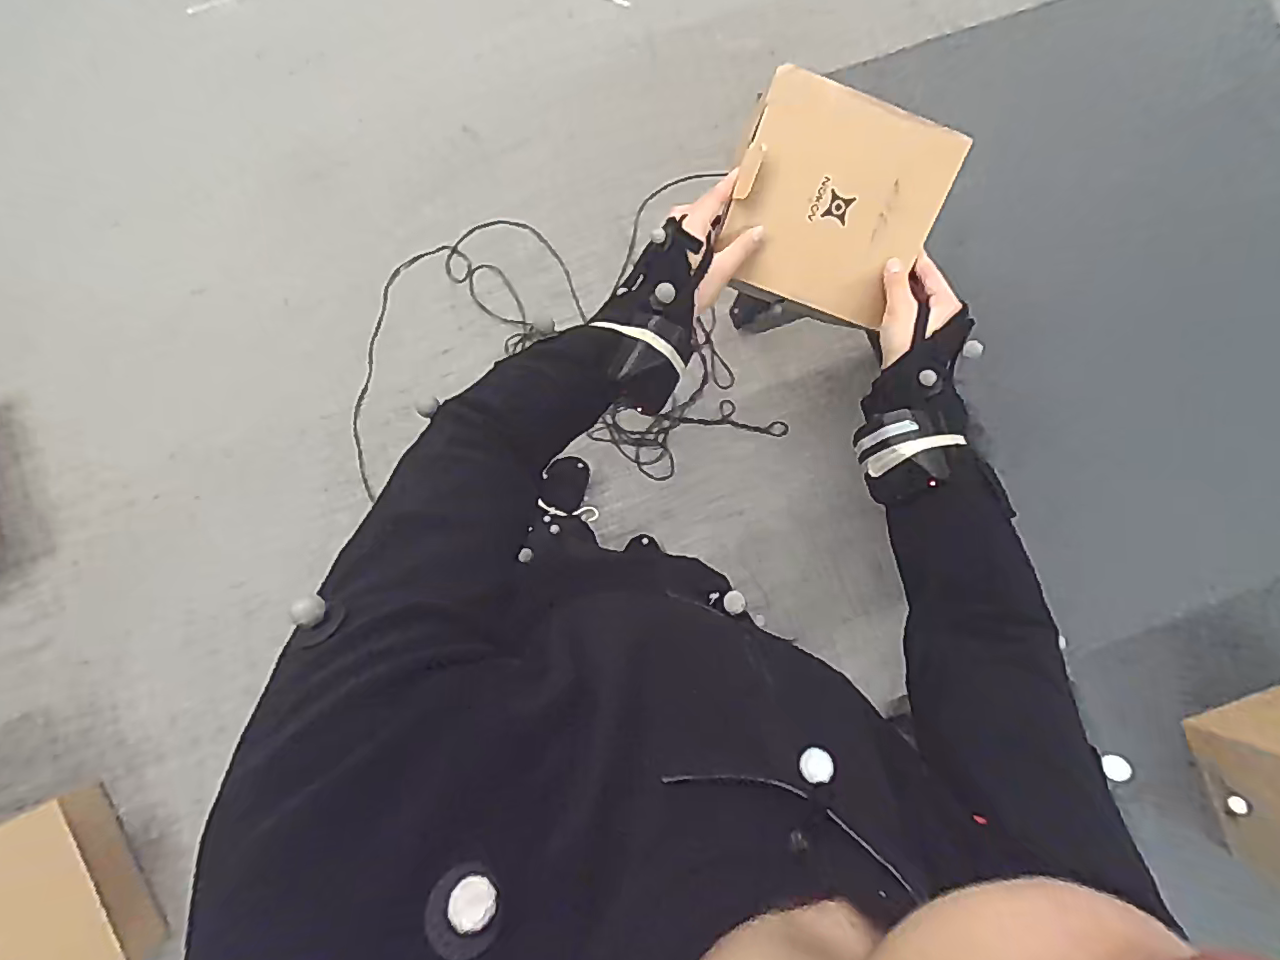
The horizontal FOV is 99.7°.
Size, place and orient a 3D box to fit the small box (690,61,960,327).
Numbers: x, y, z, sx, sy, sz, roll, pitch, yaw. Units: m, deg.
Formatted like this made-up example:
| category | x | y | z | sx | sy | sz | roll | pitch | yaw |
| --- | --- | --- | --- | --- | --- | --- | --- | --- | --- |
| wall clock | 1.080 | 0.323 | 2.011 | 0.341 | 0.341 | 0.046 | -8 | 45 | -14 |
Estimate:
| category | x | y | z | sx | sy | sz | roll | pitch | yaw |
| --- | --- | --- | --- | --- | --- | --- | --- | --- | --- |
| small box | 0.157 | -0.261 | 0.534 | 0.179 | 0.176 | 0.168 | 17 | 109 | -6 |
